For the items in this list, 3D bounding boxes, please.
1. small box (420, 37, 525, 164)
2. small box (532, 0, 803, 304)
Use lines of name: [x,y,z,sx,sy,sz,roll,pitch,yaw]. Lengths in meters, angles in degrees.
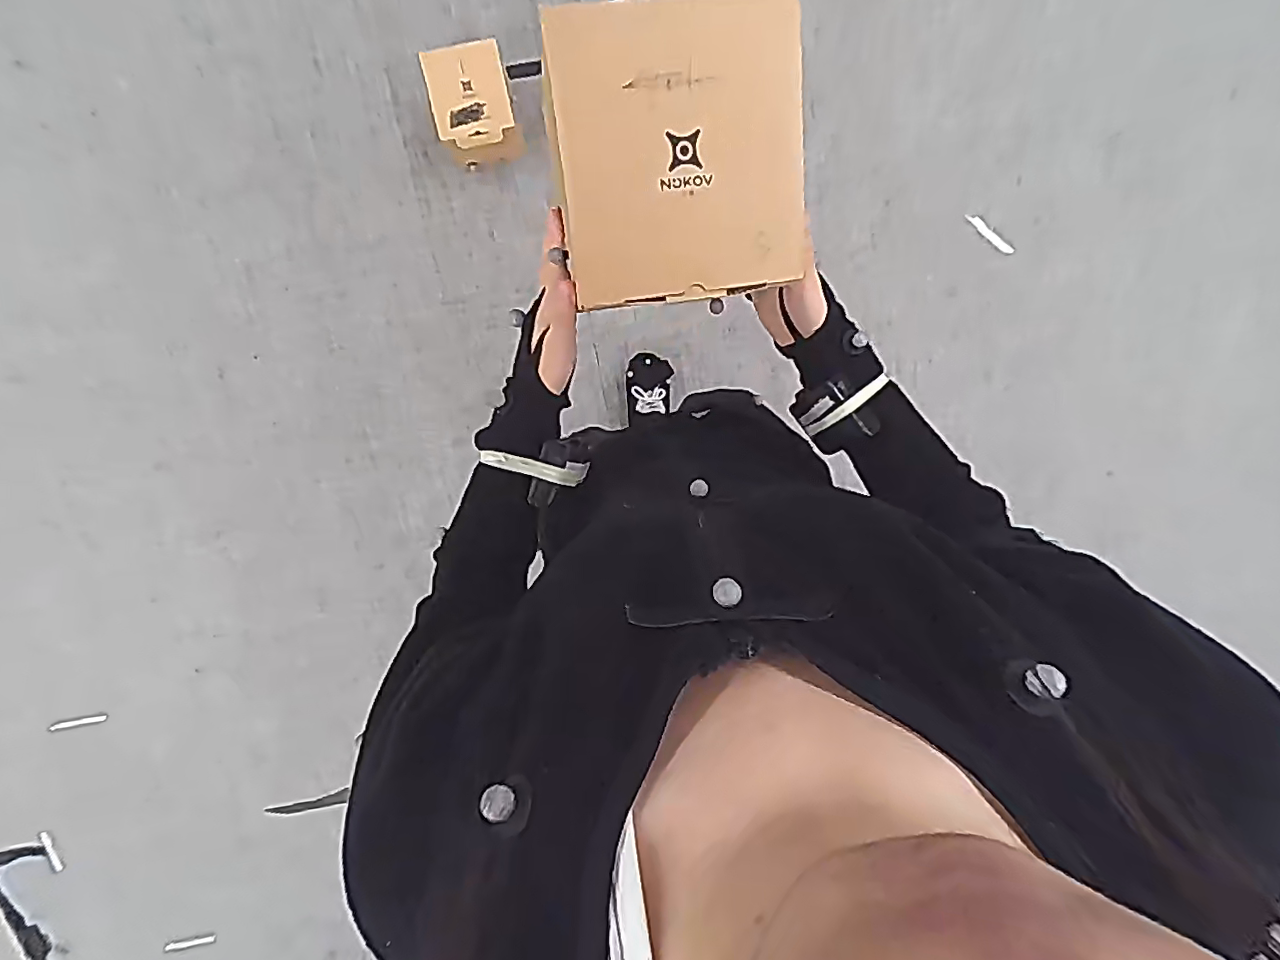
small box: [-0.367,-0.839,1.217,0.168,0.176,0.179,-12,102,-1]
small box: [0.015,-0.239,0.428,0.168,0.176,0.179,-10,107,-7]
